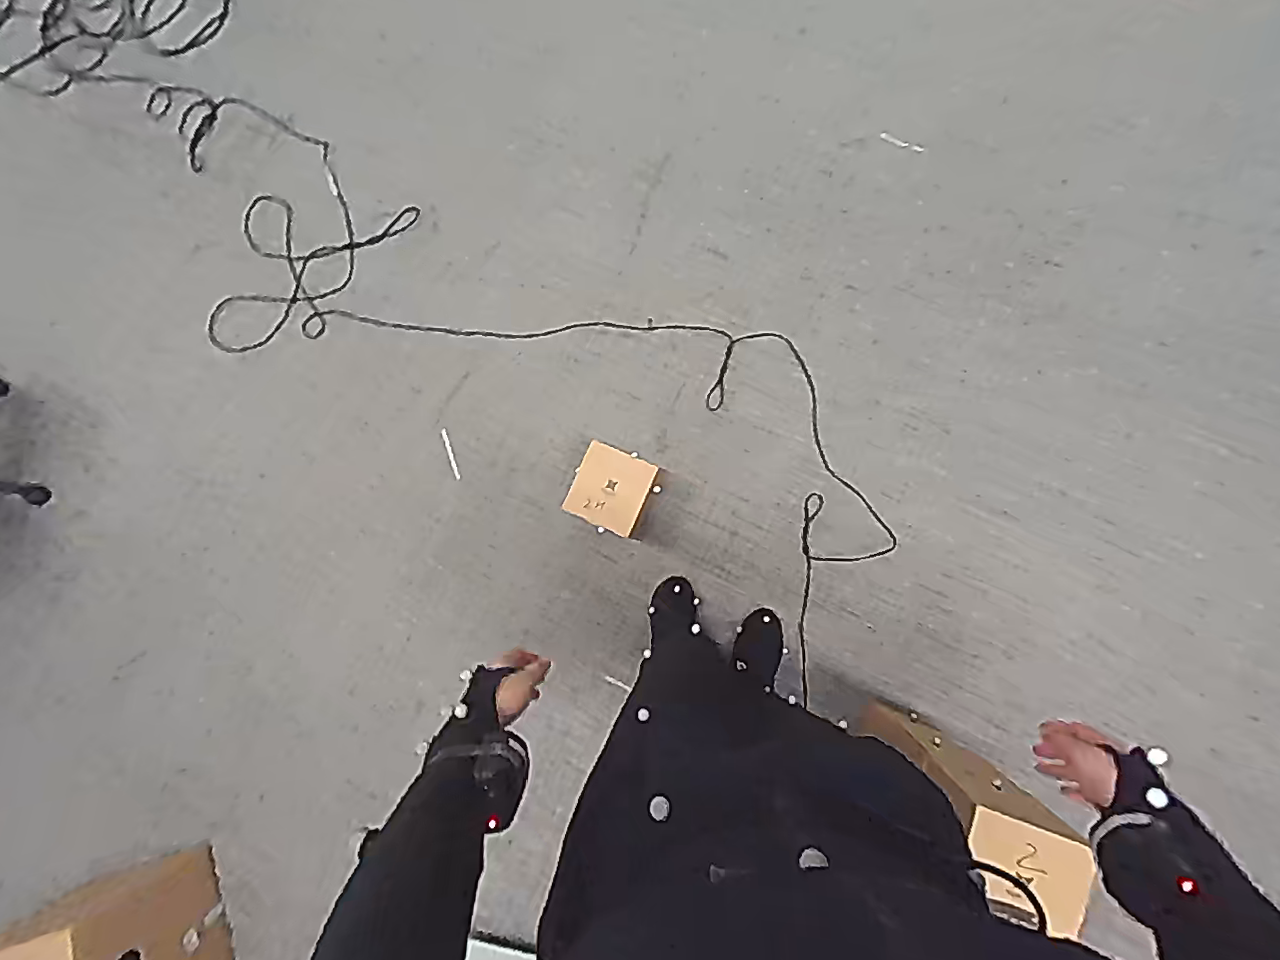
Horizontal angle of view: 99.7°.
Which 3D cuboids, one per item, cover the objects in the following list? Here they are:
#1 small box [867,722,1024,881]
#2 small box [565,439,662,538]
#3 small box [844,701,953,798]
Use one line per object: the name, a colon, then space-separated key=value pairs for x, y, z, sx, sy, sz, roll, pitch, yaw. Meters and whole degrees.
small box: x=0.548 y=0.575 z=0.998 sx=0.179 sy=0.176 sz=0.168 roll=21 pitch=89 yaw=7
small box: x=-0.055 y=0.025 z=1.278 sx=0.168 sy=0.176 sz=0.179 roll=23 pitch=87 yaw=9
small box: x=0.563 y=0.600 z=1.159 sx=0.179 sy=0.176 sz=0.168 roll=24 pitch=88 yaw=8
